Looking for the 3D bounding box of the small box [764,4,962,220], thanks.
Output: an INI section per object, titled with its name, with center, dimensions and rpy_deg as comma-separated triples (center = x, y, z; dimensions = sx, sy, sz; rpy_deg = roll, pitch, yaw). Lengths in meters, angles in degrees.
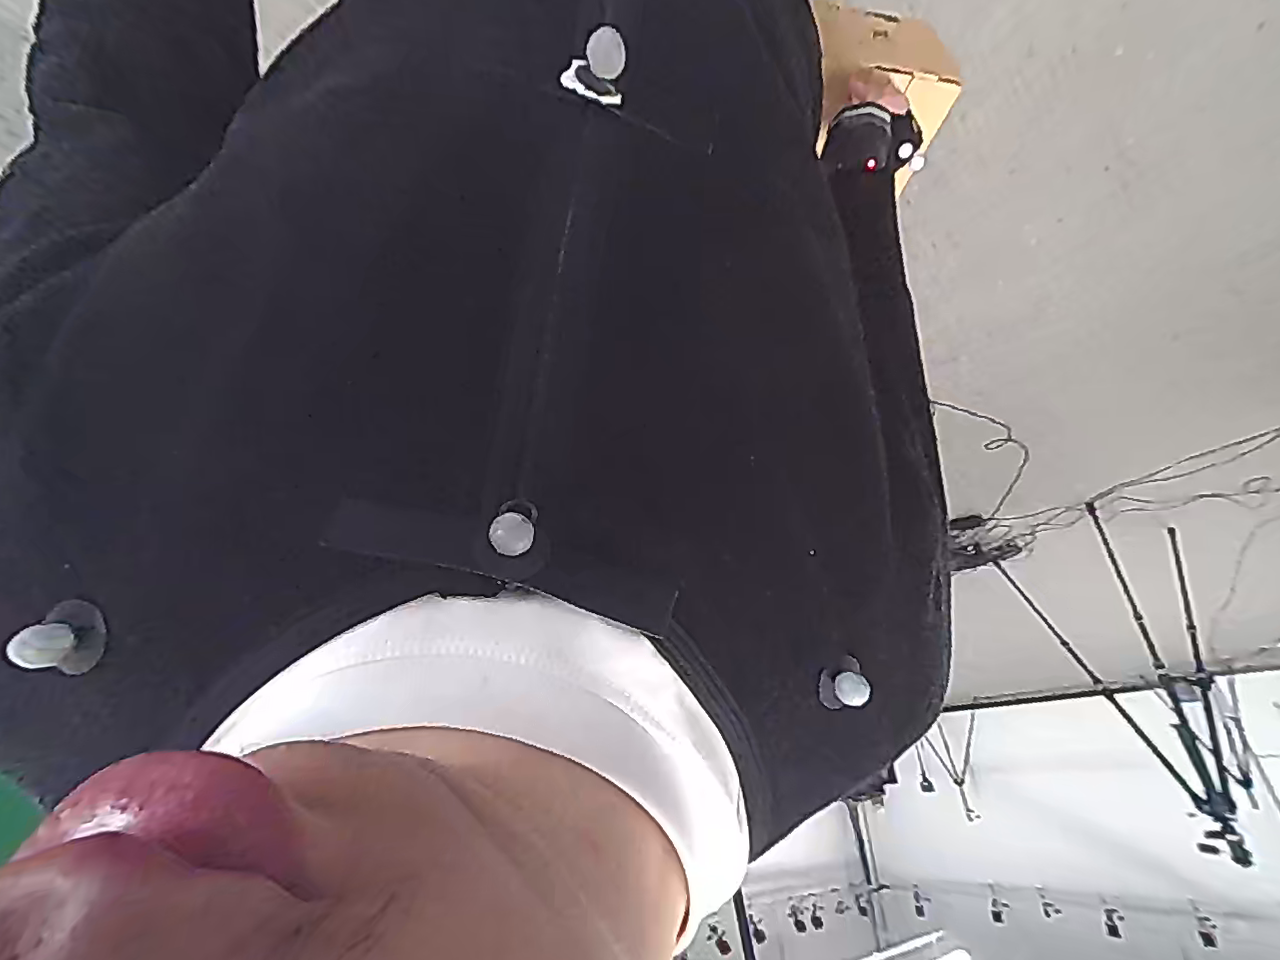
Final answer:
[small box]
center = 0.269, -0.467, 0.700
dimensions = 0.168, 0.179, 0.176
rpy_deg = 5, 148, -5
